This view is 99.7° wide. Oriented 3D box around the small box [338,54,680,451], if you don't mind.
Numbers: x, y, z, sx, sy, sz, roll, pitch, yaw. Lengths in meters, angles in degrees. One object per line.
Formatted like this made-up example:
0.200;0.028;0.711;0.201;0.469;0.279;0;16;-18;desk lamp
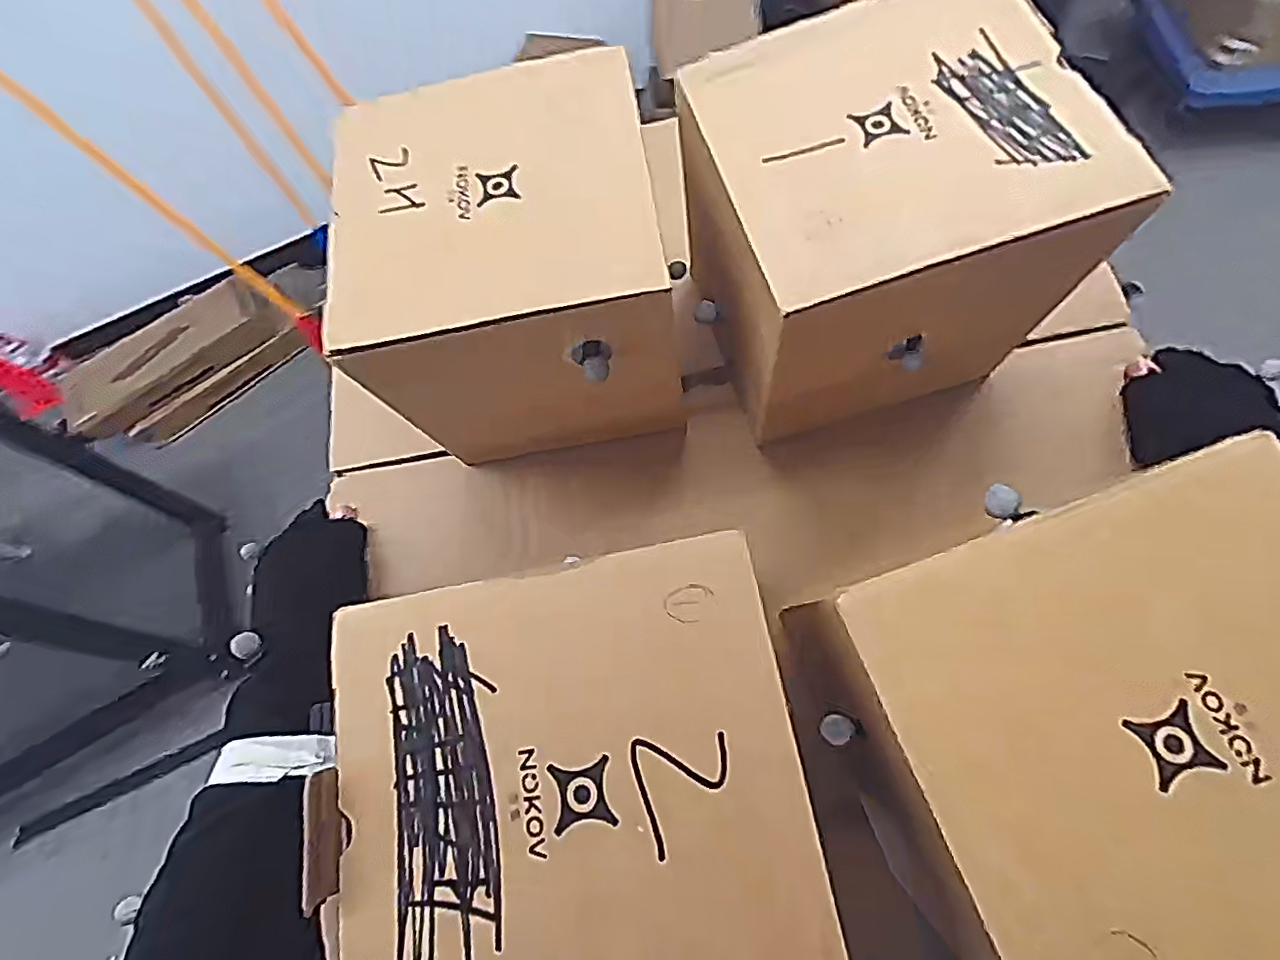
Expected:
-0.067;-0.131;0.368;0.179;0.176;0.168;-8;72;6;small box
